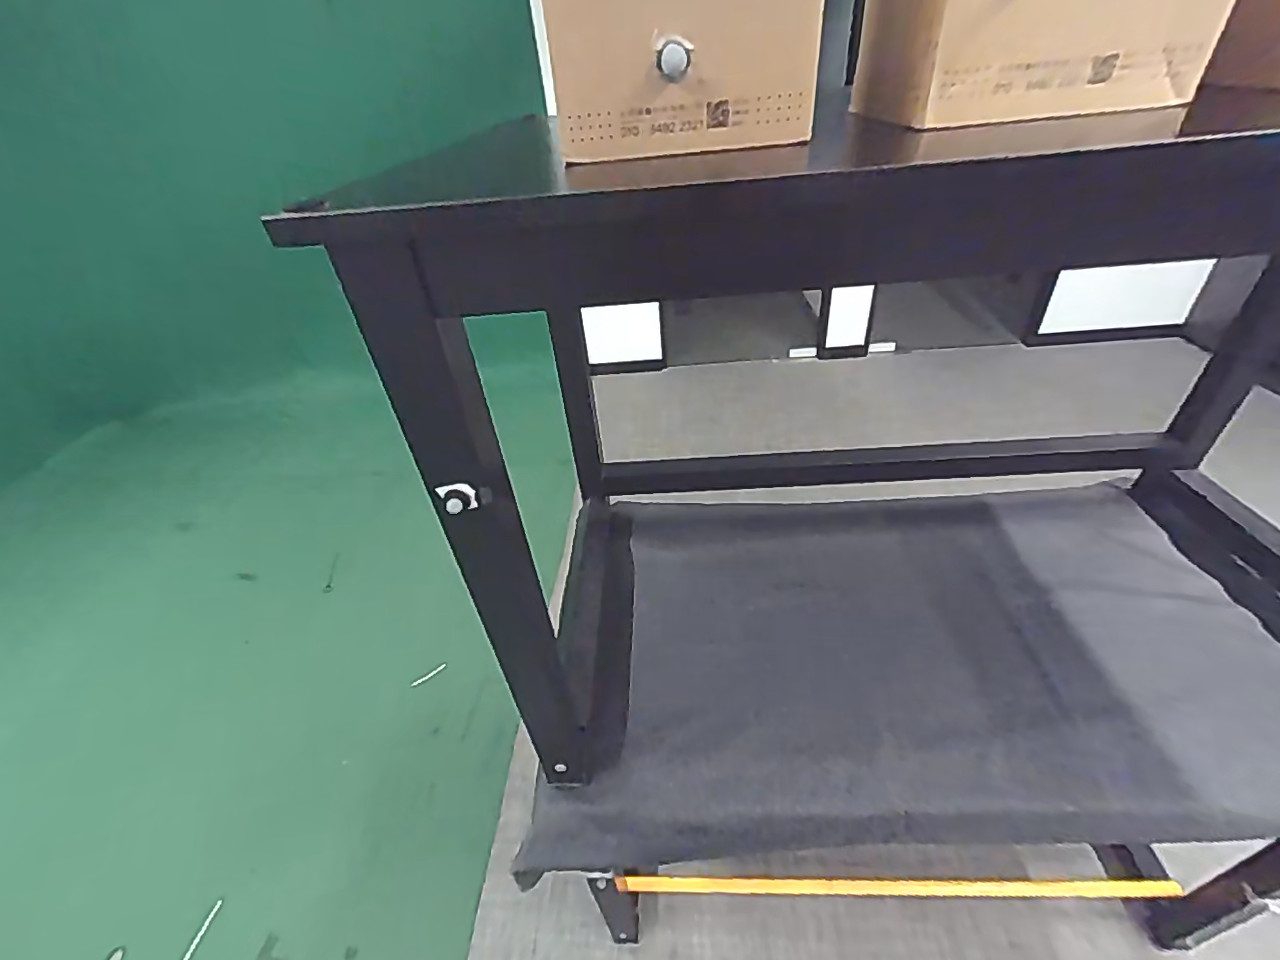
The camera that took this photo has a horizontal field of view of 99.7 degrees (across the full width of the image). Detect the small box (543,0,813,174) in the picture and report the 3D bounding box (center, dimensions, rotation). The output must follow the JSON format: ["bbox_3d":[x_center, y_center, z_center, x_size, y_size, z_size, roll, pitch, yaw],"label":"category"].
[{"bbox_3d":[0.023,-0.329,0.390,0.168,0.176,0.179,-4,38,3],"label":"small box"}]
